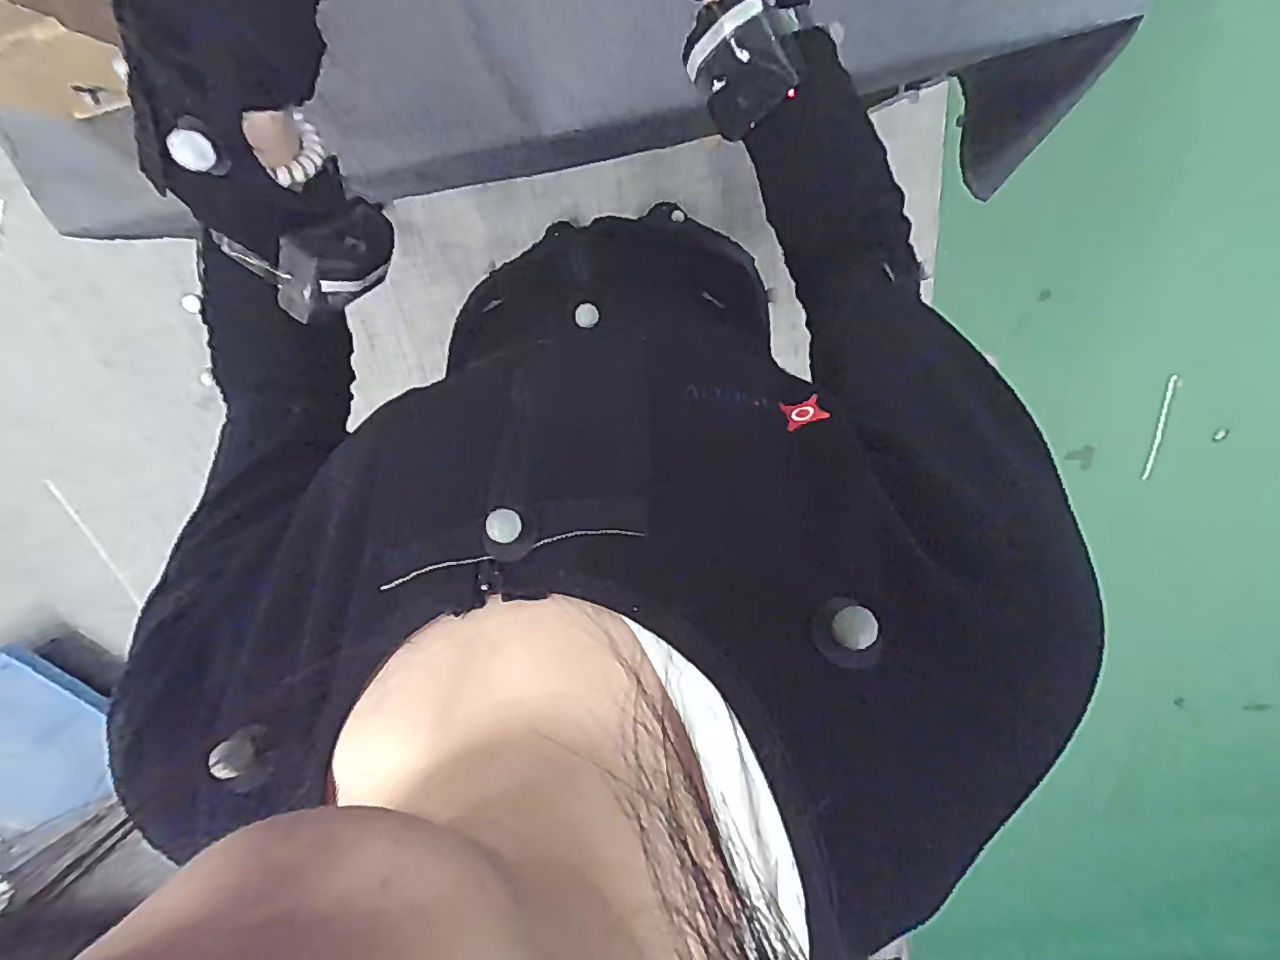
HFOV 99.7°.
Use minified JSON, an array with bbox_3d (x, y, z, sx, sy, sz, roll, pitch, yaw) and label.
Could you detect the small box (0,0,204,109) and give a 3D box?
[{"bbox_3d":[-0.541,-0.448,0.459,0.168,0.176,0.179,-11,116,4],"label":"small box"}]
